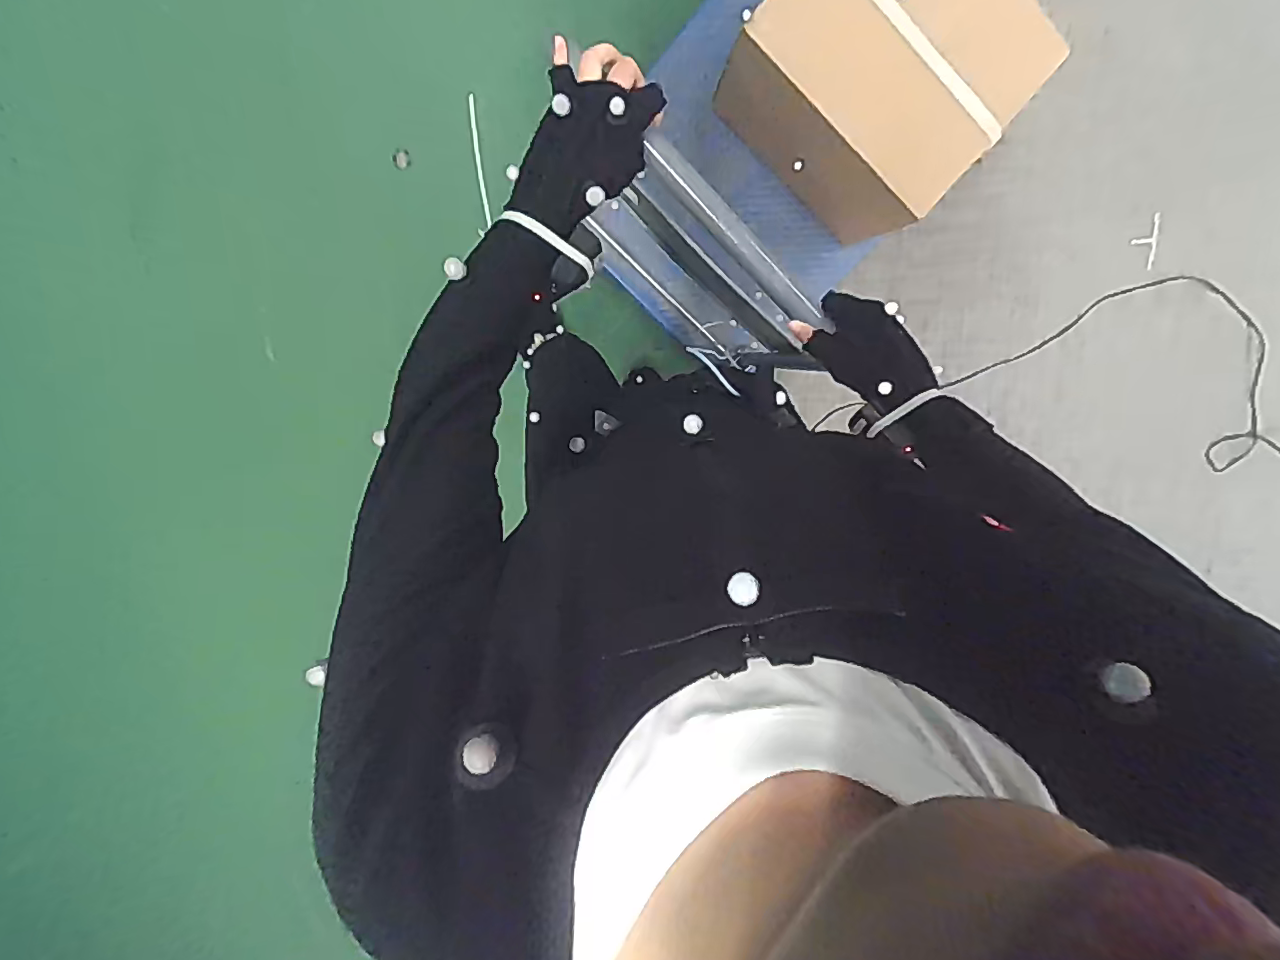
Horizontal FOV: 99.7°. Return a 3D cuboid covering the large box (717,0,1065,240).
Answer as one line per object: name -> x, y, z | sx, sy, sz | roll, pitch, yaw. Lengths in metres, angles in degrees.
large box -> 0.401, -0.703, 0.961 | 0.408, 0.320, 0.320 | 39, 101, -11
